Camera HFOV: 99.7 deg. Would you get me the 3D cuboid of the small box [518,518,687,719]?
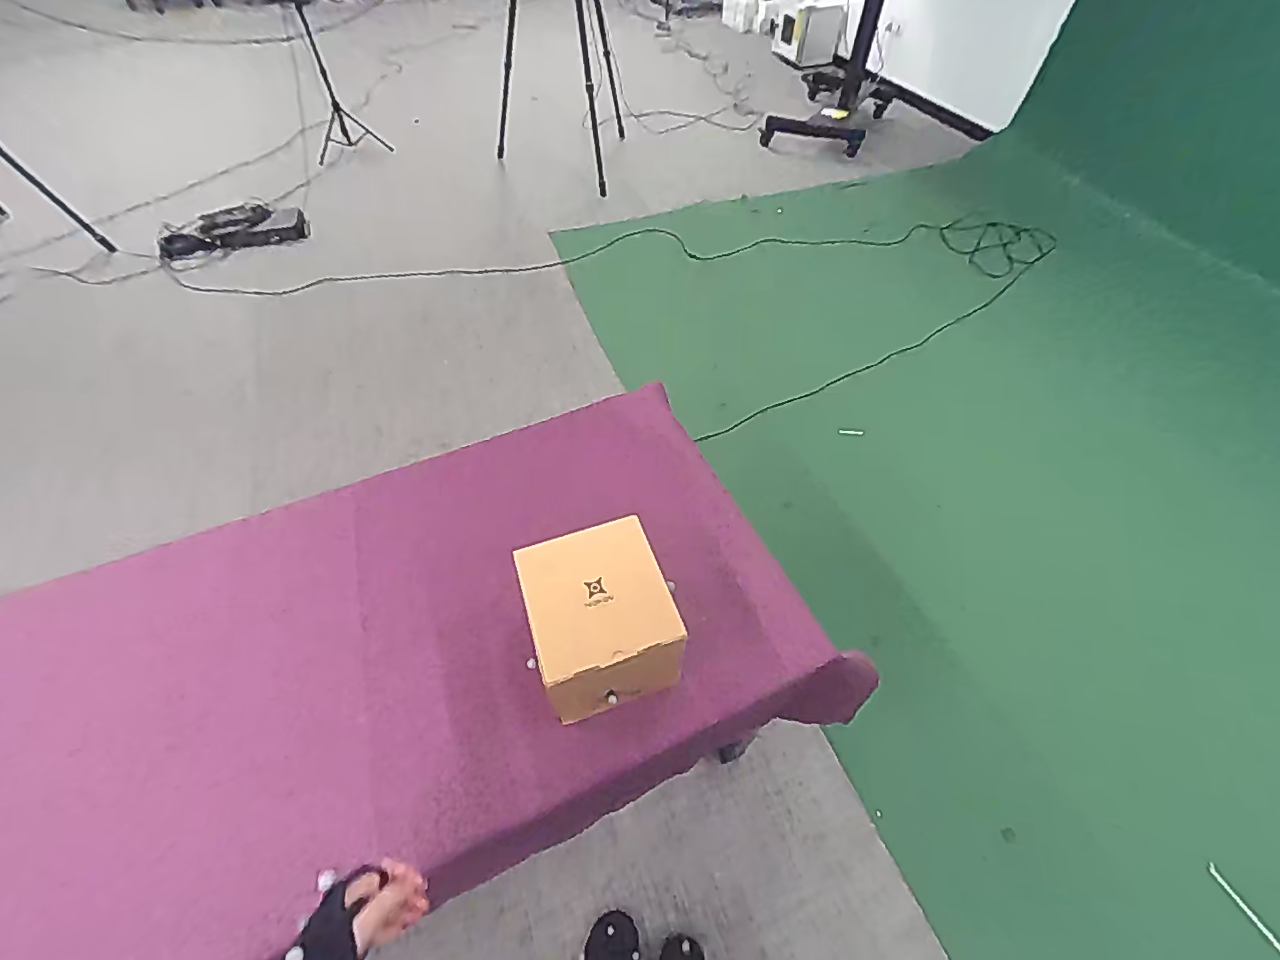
[{"bbox_3d":[-0.052,0.183,0.709,0.168,0.176,0.179,-16,55,-13],"label":"small box"}]
